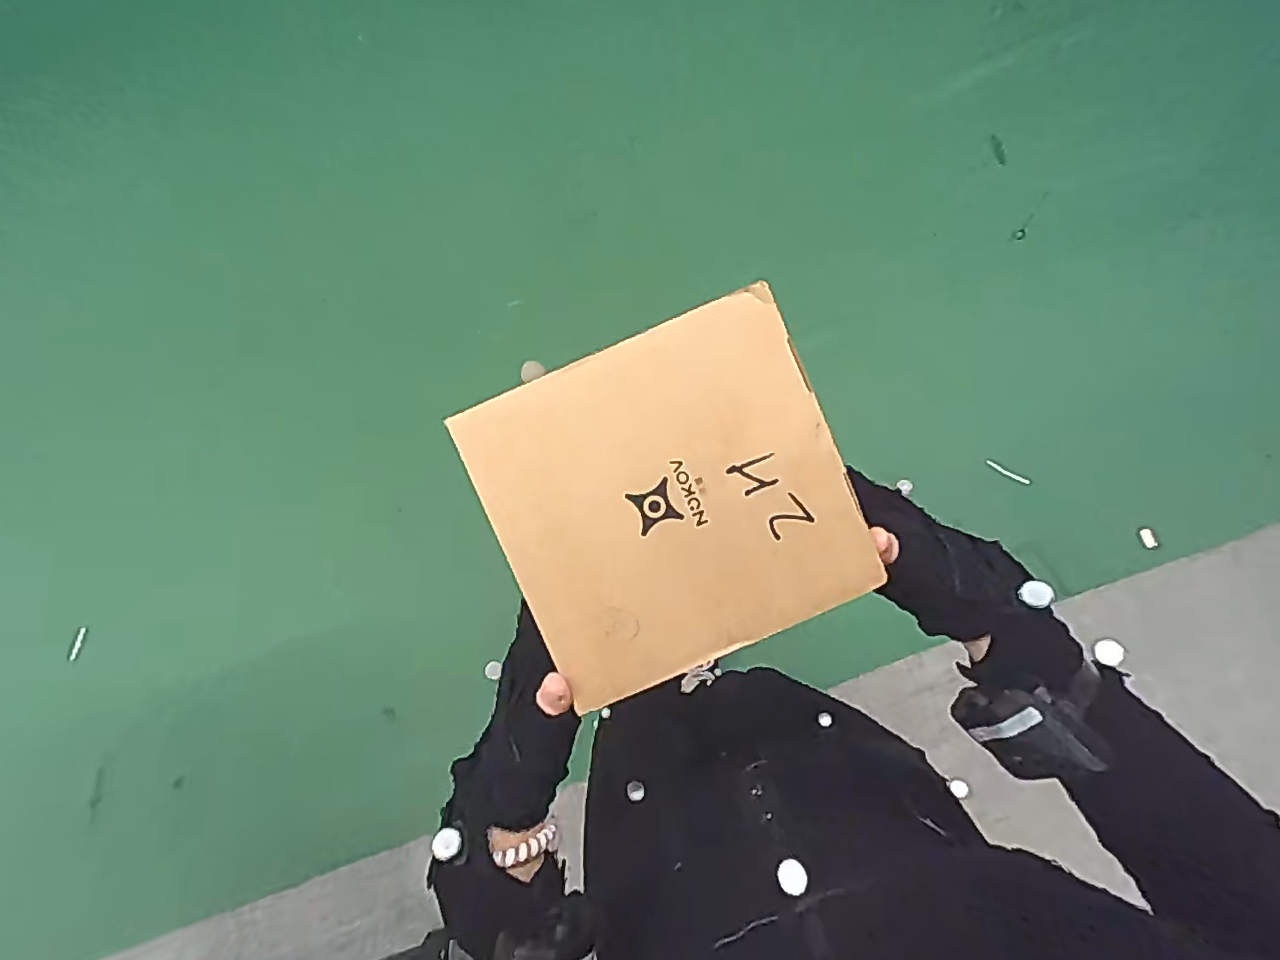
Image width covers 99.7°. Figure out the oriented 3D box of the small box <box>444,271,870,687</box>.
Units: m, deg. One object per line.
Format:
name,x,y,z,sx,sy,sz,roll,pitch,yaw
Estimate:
small box,0.009,-0.002,0.355,0.179,0.176,0.168,-24,93,0
